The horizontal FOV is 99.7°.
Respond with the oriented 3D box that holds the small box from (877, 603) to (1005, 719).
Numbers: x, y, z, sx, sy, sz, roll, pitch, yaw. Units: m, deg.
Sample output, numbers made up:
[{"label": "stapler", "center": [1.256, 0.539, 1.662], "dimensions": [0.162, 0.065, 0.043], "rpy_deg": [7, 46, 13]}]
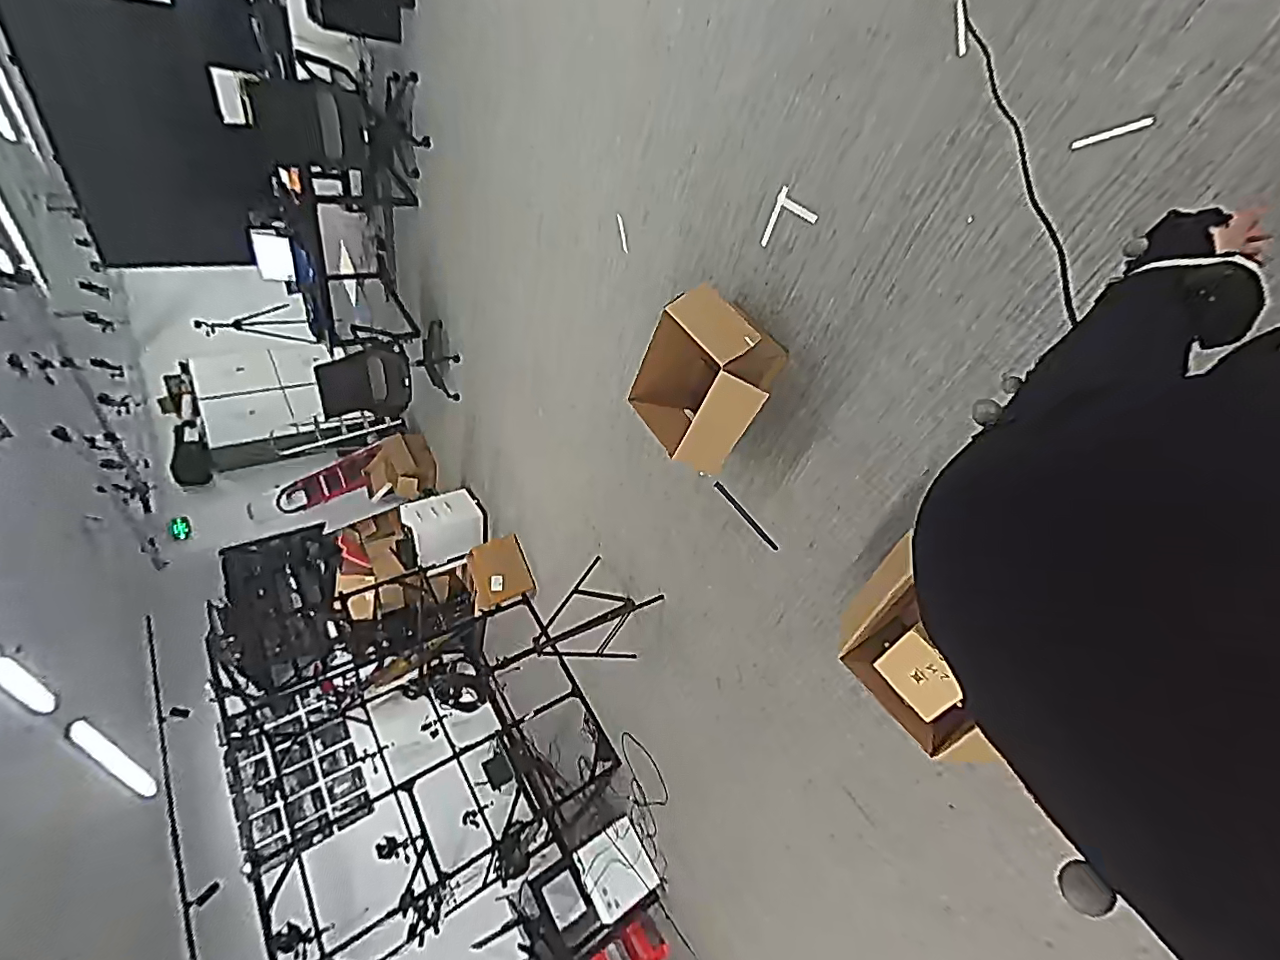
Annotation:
[{"label": "small box", "center": [0.713, 0.425, 1.281], "dimensions": [0.168, 0.176, 0.179], "rpy_deg": [50, 140, 30]}]
